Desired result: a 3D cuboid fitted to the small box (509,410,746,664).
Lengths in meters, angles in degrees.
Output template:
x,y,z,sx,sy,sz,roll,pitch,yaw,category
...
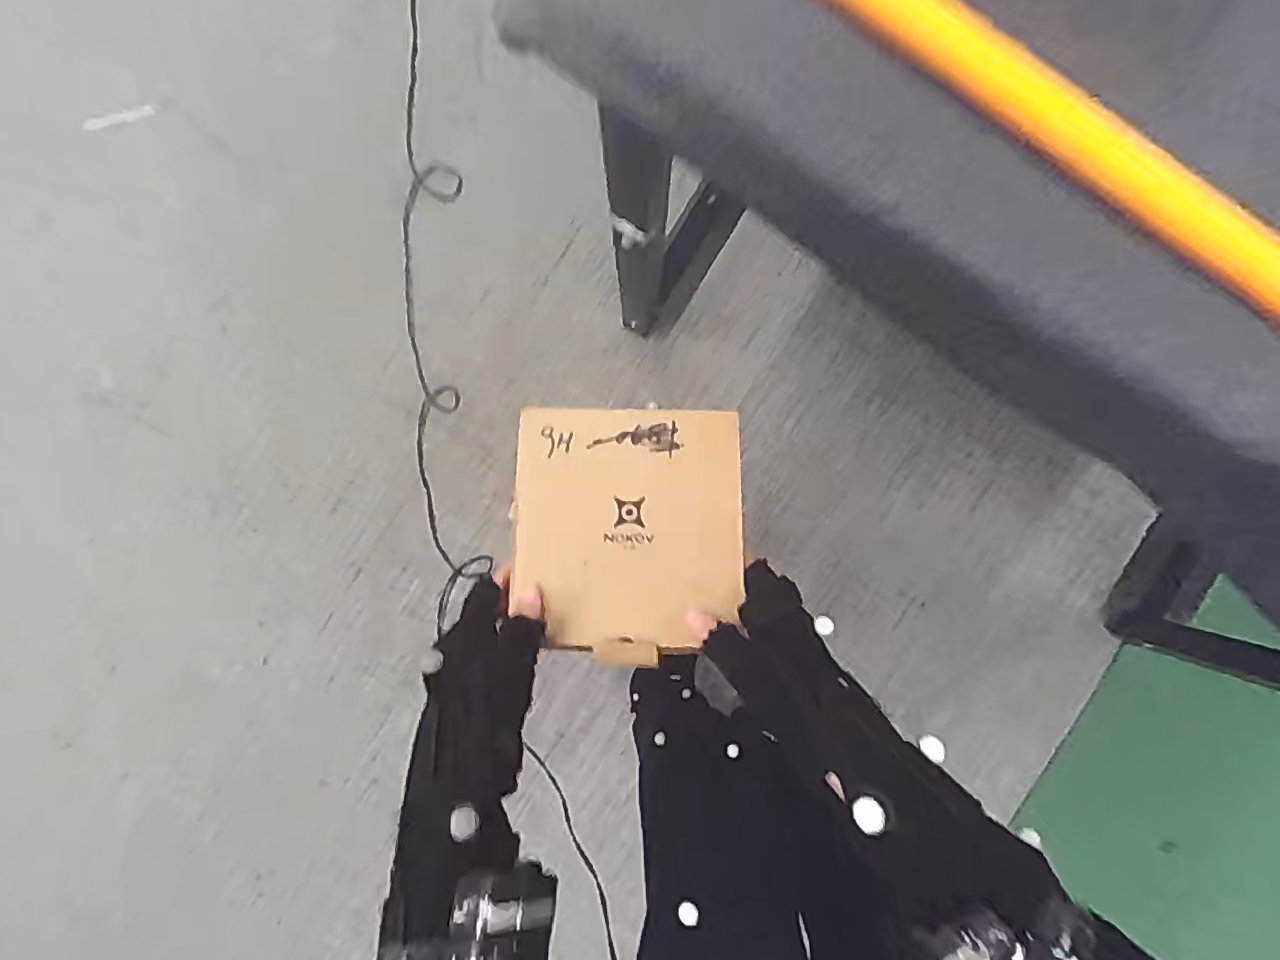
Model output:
x,y,z,sx,sy,sz,roll,pitch,yaw,category
-0.008,0.053,0.460,0.168,0.176,0.179,-3,77,1,small box
